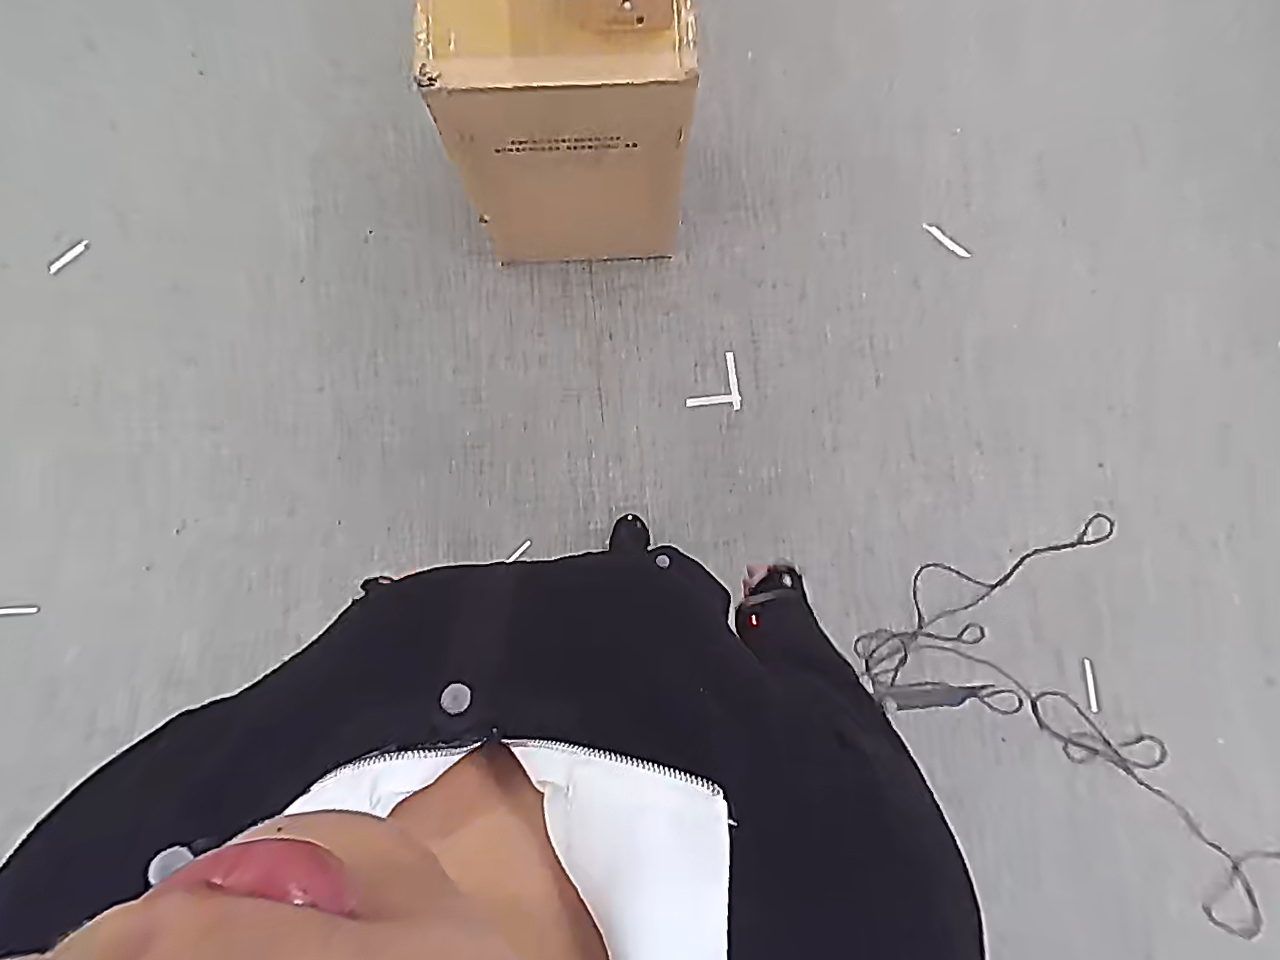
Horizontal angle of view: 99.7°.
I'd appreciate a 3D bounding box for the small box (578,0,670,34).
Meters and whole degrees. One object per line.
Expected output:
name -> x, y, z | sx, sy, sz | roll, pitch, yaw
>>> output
small box -> -0.031, -0.926, 0.936 | 0.168, 0.176, 0.179 | -3, 84, 0
